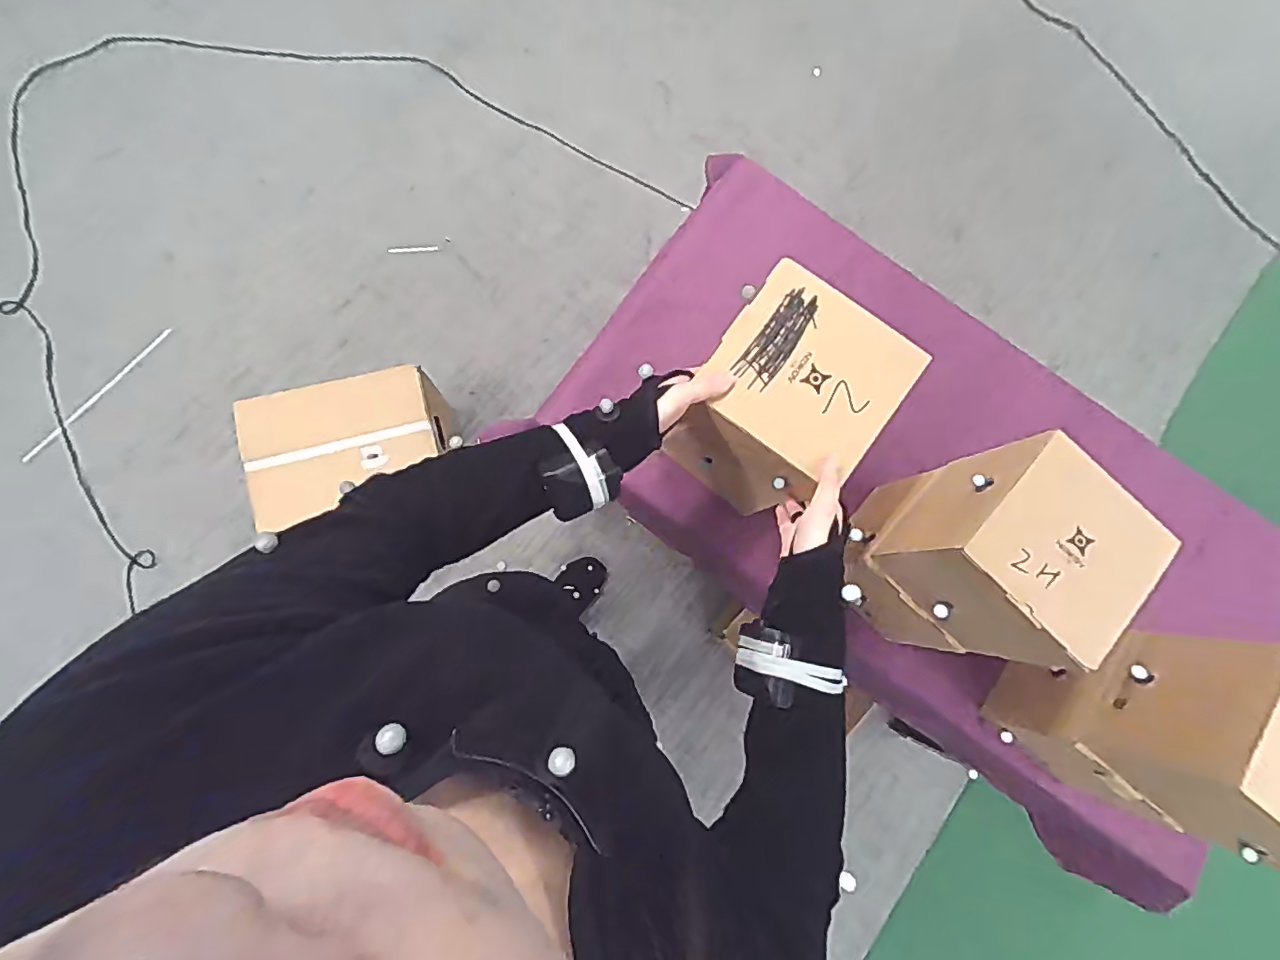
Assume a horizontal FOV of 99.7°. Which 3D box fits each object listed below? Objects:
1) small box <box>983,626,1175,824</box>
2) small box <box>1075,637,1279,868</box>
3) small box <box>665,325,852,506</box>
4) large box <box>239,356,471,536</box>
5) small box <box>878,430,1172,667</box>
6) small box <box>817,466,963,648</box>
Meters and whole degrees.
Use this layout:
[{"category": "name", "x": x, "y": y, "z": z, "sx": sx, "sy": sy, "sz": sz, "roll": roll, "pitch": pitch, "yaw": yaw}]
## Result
[{"category": "small box", "x": 0.628, "y": 0.319, "z": 0.755, "sx": 0.168, "sy": 0.176, "sz": 0.179, "roll": 40, "pitch": 78, "yaw": 2}, {"category": "small box", "x": 0.651, "y": 0.292, "z": 0.596, "sx": 0.179, "sy": 0.176, "sz": 0.168, "roll": 41, "pitch": 78, "yaw": 2}, {"category": "small box", "x": 0.154, "y": -0.078, "z": 0.773, "sx": 0.179, "sy": 0.176, "sz": 0.168, "roll": 40, "pitch": 79, "yaw": 3}, {"category": "large box", "x": -0.681, "y": -0.068, "z": 1.354, "sx": 0.408, "sy": 0.320, "sz": 0.320, "roll": -15, "pitch": 83, "yaw": -9}, {"category": "small box", "x": 0.410, "y": 0.075, "z": 0.608, "sx": 0.179, "sy": 0.176, "sz": 0.168, "roll": -44, "pitch": 87, "yaw": -11}, {"category": "small box", "x": 0.388, "y": 0.107, "z": 0.769, "sx": 0.168, "sy": 0.176, "sz": 0.179, "roll": 45, "pitch": 80, "yaw": 3}]
